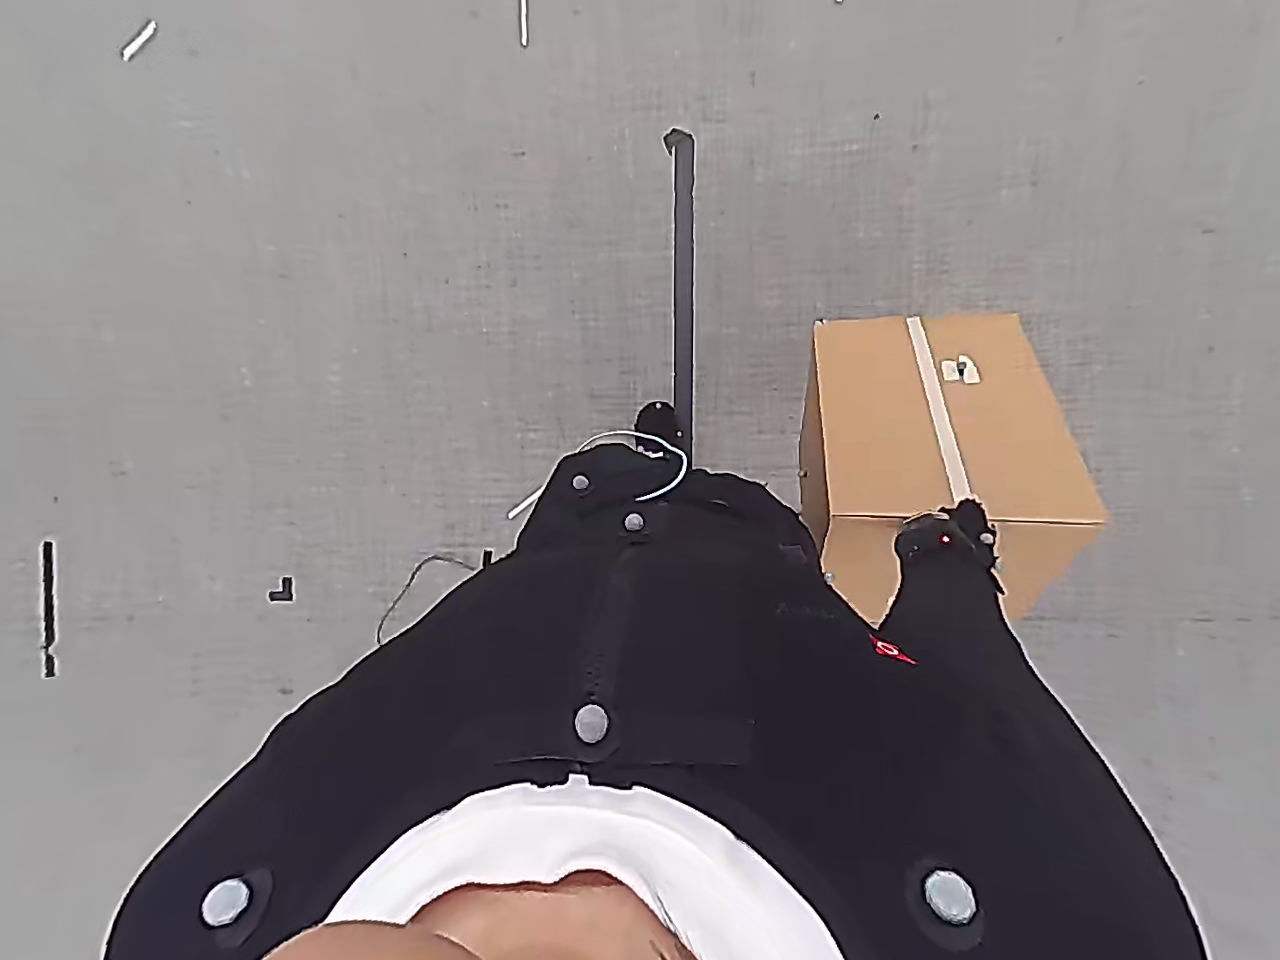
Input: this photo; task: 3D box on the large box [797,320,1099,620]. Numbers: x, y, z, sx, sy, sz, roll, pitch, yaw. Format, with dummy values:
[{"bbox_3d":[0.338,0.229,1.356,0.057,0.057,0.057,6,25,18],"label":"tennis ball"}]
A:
[{"bbox_3d":[0.444,-0.016,0.907,0.320,0.320,0.408,2,51,10],"label":"large box"}]
